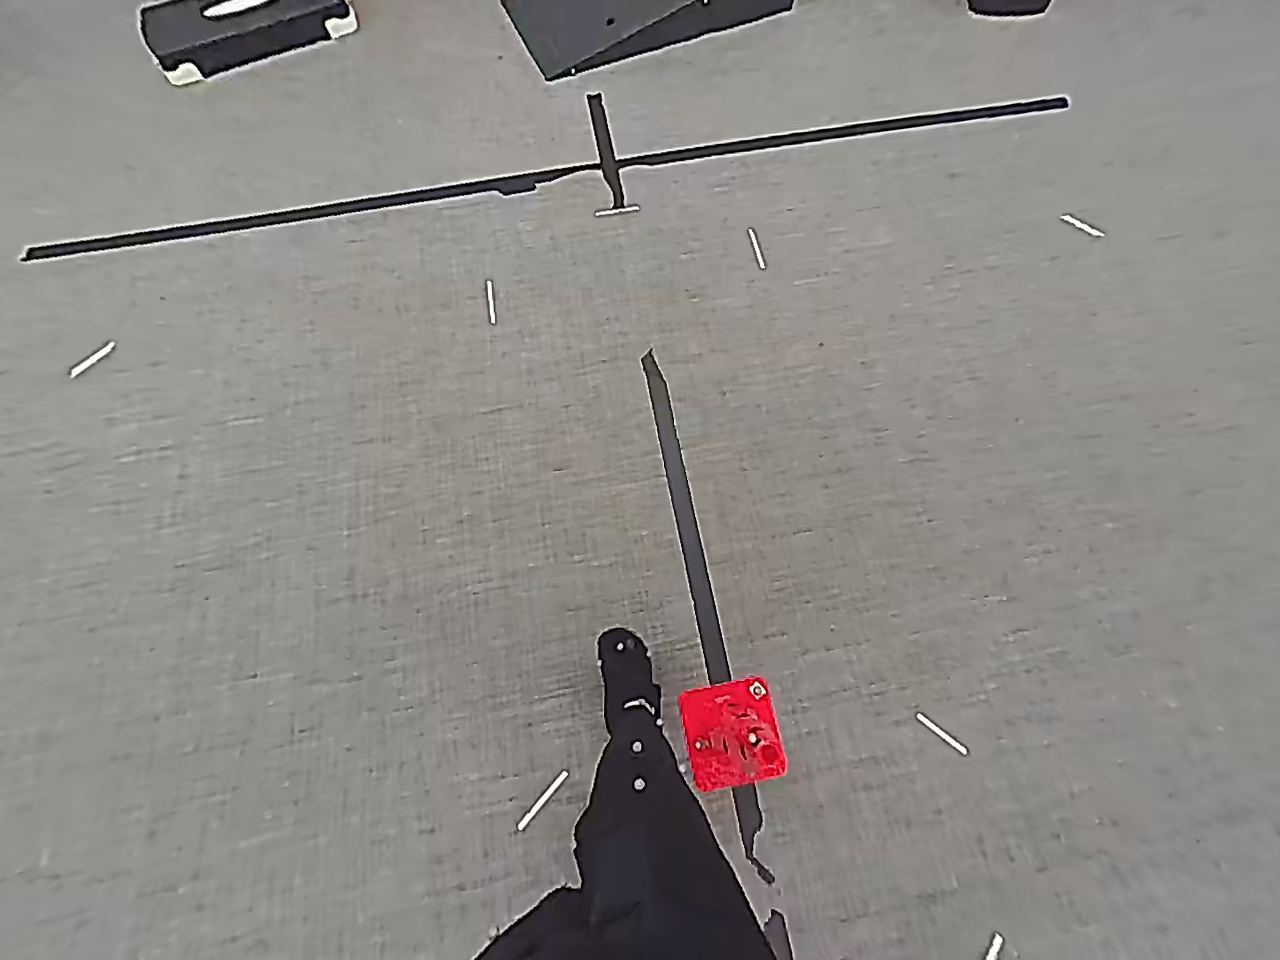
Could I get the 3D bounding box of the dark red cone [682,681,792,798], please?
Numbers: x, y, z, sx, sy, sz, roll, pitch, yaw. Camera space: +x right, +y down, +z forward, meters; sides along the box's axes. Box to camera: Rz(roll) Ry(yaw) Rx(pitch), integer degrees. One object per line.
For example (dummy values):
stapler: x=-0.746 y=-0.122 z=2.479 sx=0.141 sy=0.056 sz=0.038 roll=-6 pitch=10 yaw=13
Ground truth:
dark red cone: x=0.198 y=0.479 z=0.969 sx=0.201 sy=0.394 sz=0.202 roll=-11 pitch=70 yaw=-3
